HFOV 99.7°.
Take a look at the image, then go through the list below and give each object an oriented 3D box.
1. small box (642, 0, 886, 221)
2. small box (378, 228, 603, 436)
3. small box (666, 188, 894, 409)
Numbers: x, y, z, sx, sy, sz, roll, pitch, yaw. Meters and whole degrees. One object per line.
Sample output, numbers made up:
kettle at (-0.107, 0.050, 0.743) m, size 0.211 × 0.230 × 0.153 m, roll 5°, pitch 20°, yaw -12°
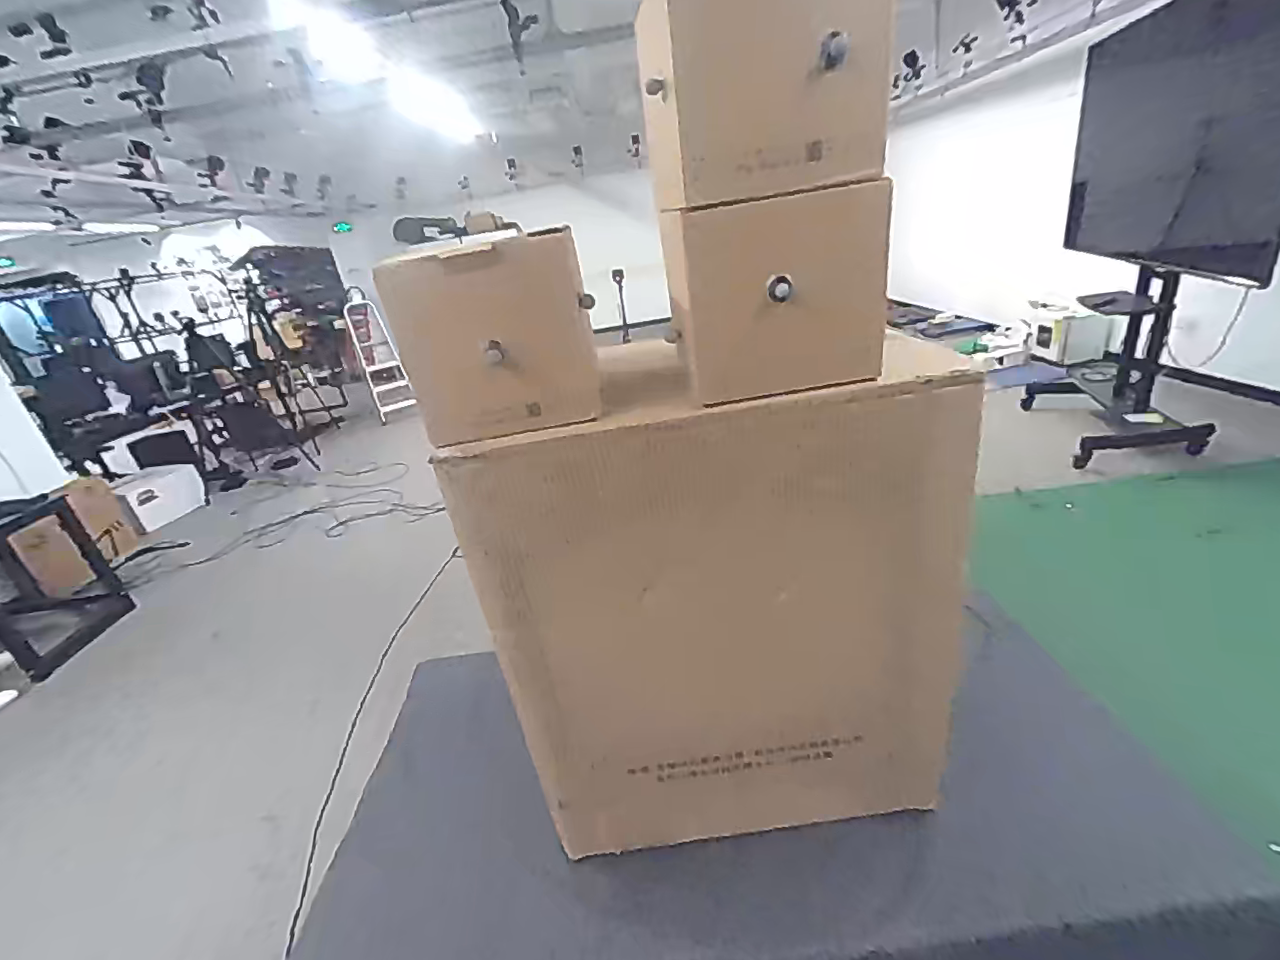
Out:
small box at (0.100, -0.329, 0.476) m, size 0.168 × 0.176 × 0.179 m, roll -8°, pitch 25°, yaw -3°
small box at (-0.132, -0.152, 0.560) m, size 0.168 × 0.176 × 0.179 m, roll -9°, pitch 27°, yaw 1°
small box at (0.126, -0.182, 0.539) m, size 0.179 × 0.176 × 0.168 m, roll -9°, pitch 26°, yaw 1°
